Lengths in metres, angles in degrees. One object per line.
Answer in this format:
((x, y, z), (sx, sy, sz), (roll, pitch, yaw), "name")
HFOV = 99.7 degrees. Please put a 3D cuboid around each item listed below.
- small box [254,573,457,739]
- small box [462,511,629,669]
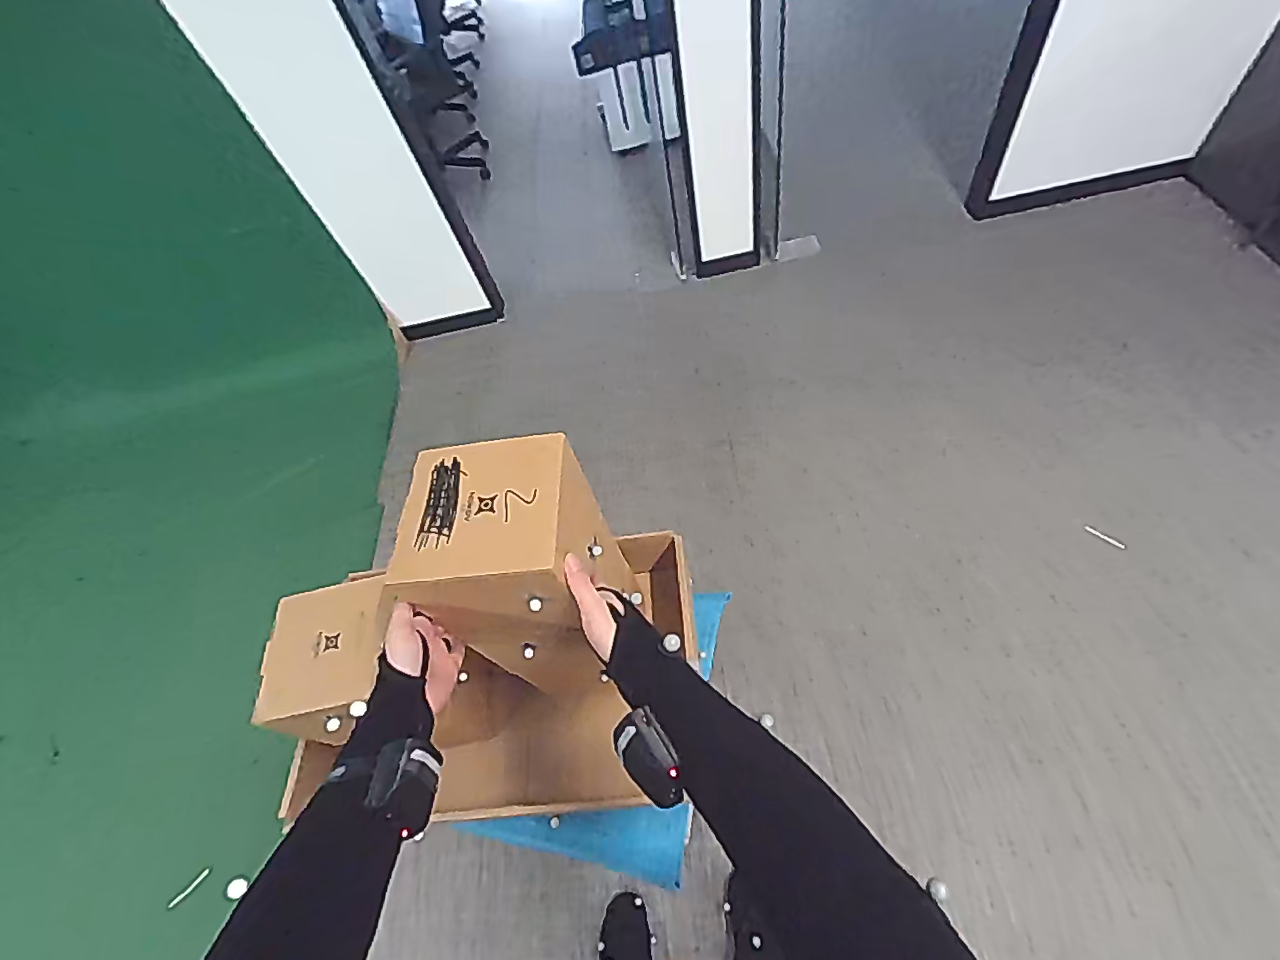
((-0.380, 0.253, 0.759), (0.179, 0.176, 0.168), (-12, 55, 3), "small box")
((-0.120, 0.161, 0.761), (0.179, 0.176, 0.168), (-5, 56, 9), "small box")
